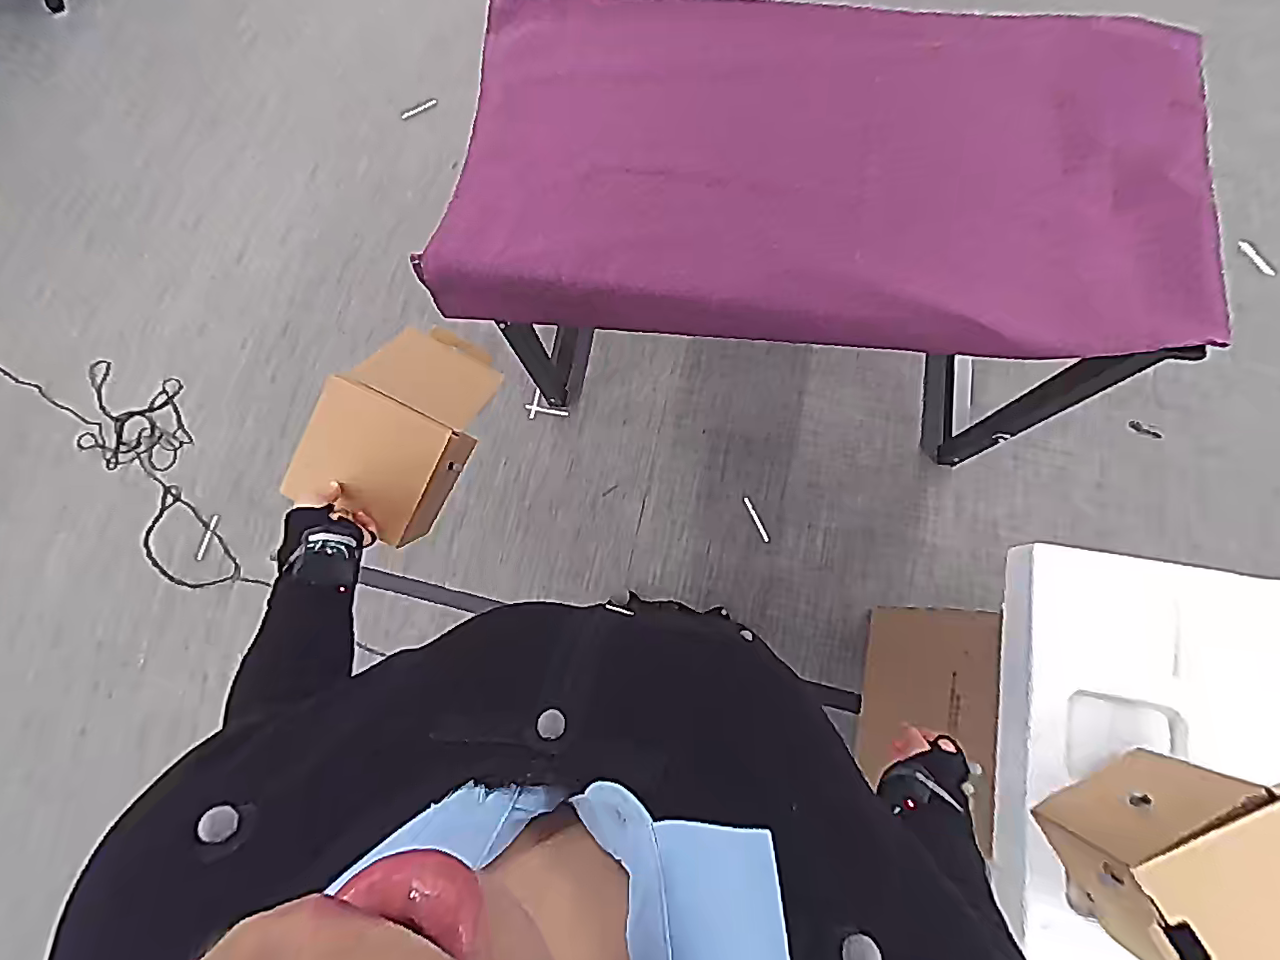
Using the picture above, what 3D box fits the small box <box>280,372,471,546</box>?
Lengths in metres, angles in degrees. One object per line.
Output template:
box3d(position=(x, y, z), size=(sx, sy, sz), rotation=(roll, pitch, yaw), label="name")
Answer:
box3d(position=(-0.362, -0.028, 0.783), size=(0.168, 0.176, 0.179), rotation=(29, 87, -7), label="small box")
